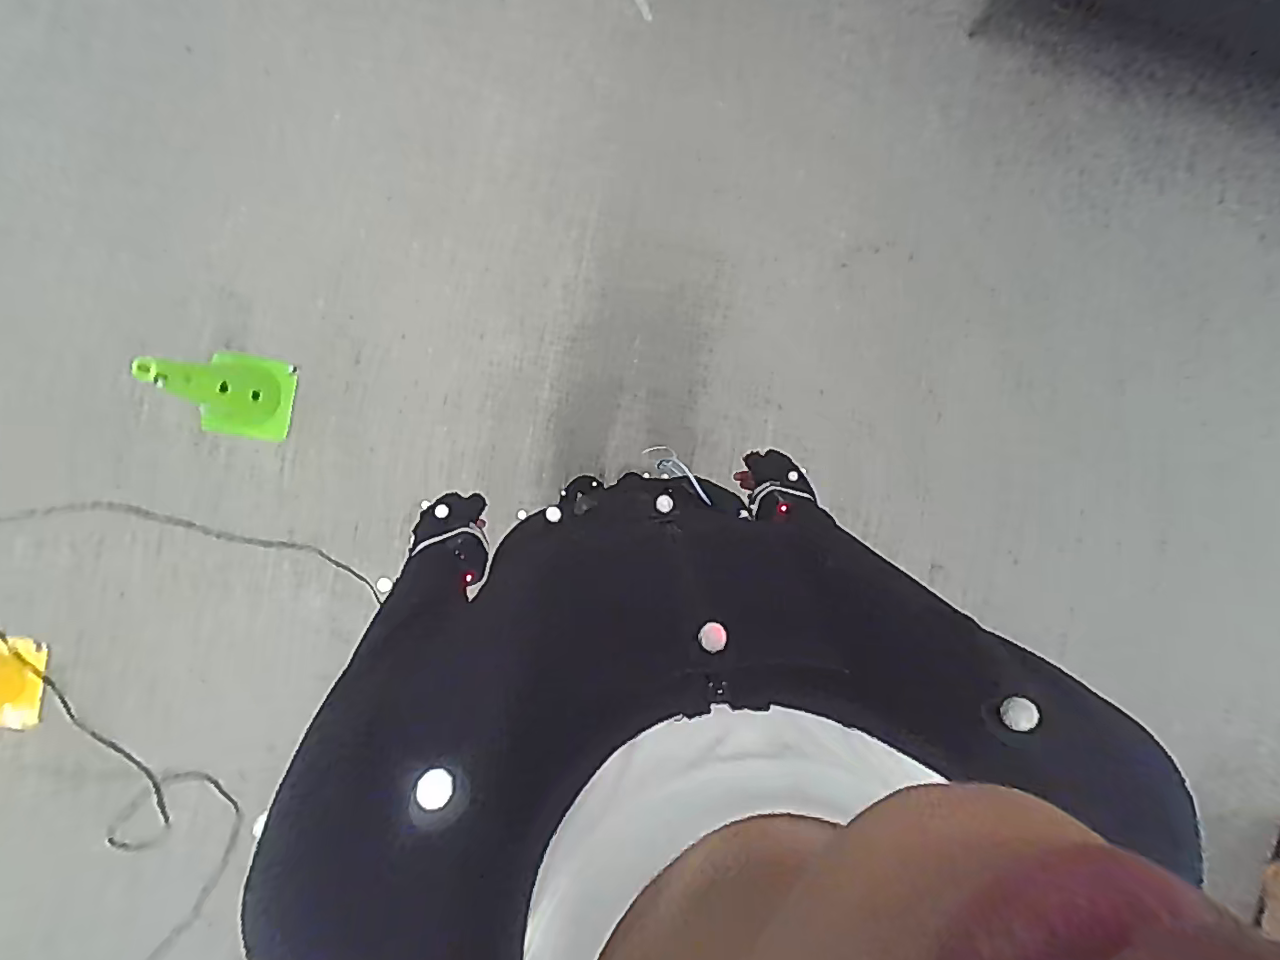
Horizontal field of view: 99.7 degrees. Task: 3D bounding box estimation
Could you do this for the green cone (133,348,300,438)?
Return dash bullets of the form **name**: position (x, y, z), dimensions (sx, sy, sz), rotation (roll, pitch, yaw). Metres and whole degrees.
- **green cone**: position (-0.943, -0.212, 1.175), dimensions (0.200, 0.368, 0.202), rotation (10, 90, -7)
